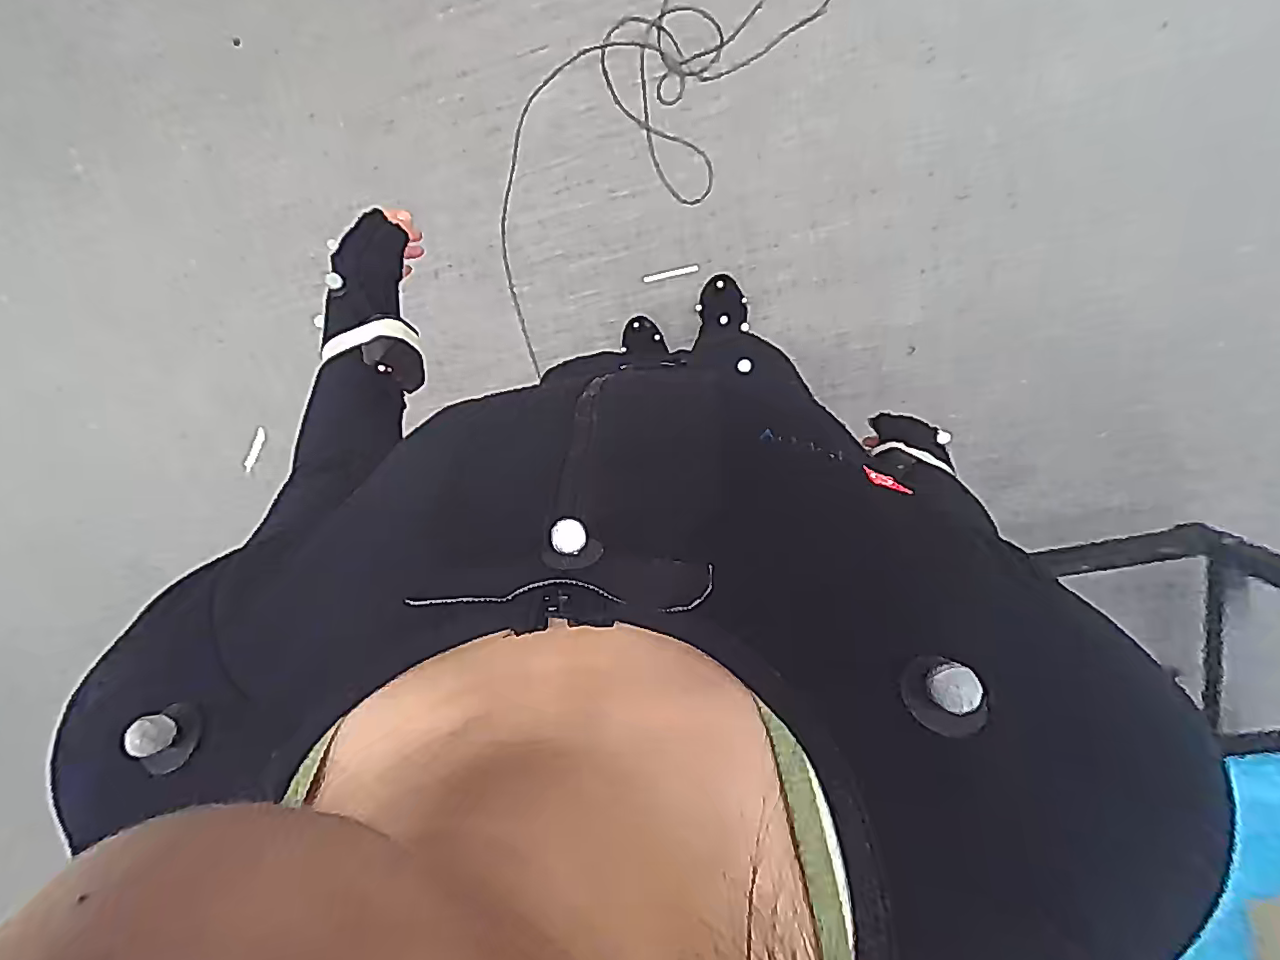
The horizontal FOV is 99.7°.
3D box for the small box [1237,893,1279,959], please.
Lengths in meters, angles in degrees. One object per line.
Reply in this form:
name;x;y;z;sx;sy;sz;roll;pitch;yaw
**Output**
small box;0.994;0.702;0.737;0.179;0.176;0.168;-12;104;13
